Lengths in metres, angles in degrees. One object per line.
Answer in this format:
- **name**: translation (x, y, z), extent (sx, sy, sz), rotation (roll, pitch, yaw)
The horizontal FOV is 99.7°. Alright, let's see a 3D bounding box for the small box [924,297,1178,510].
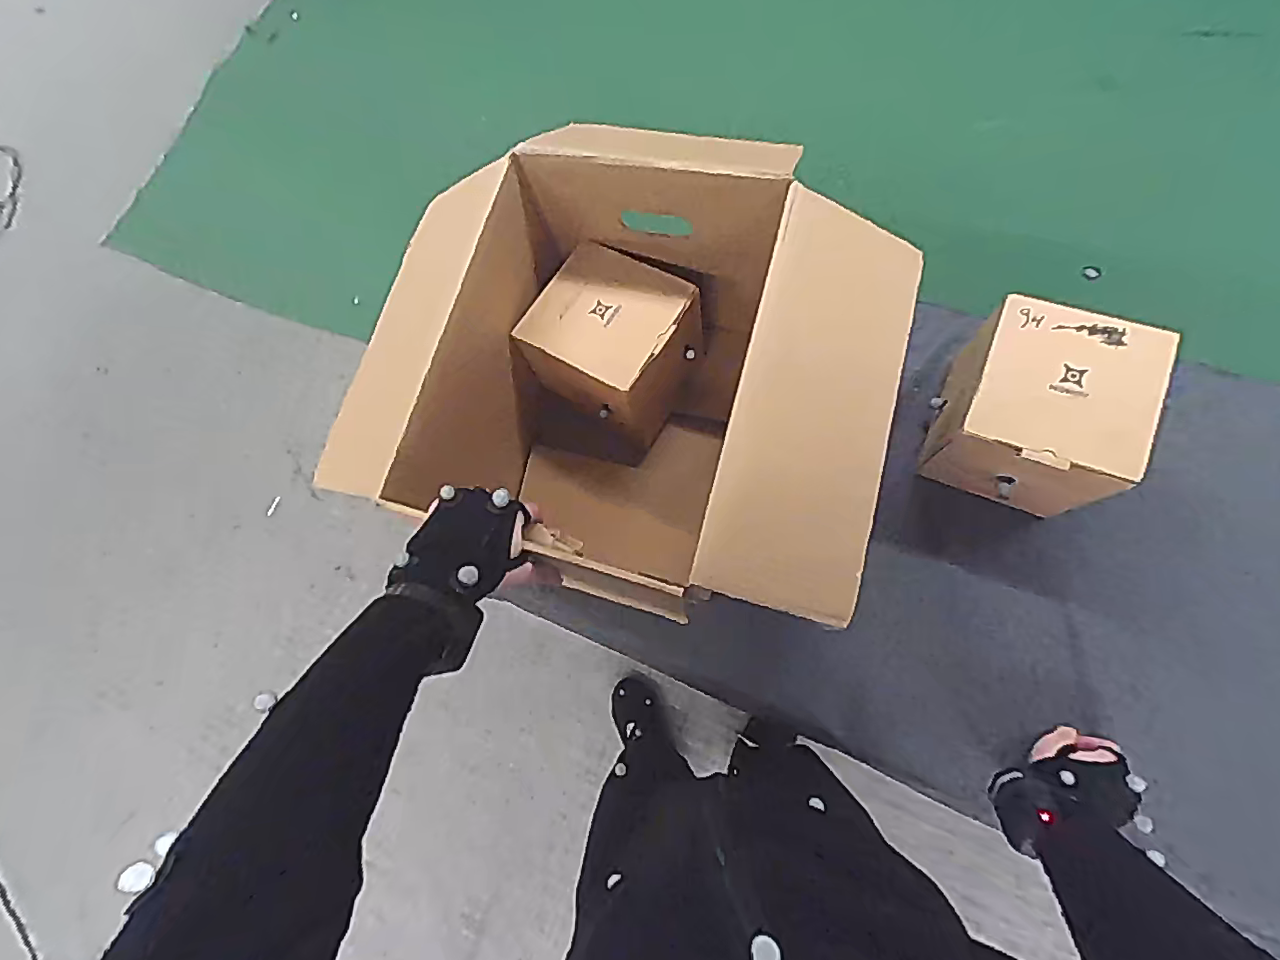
- **small box**: translation (0.466, -0.079, 0.646), extent (0.168, 0.176, 0.179), rotation (22, 81, 14)
